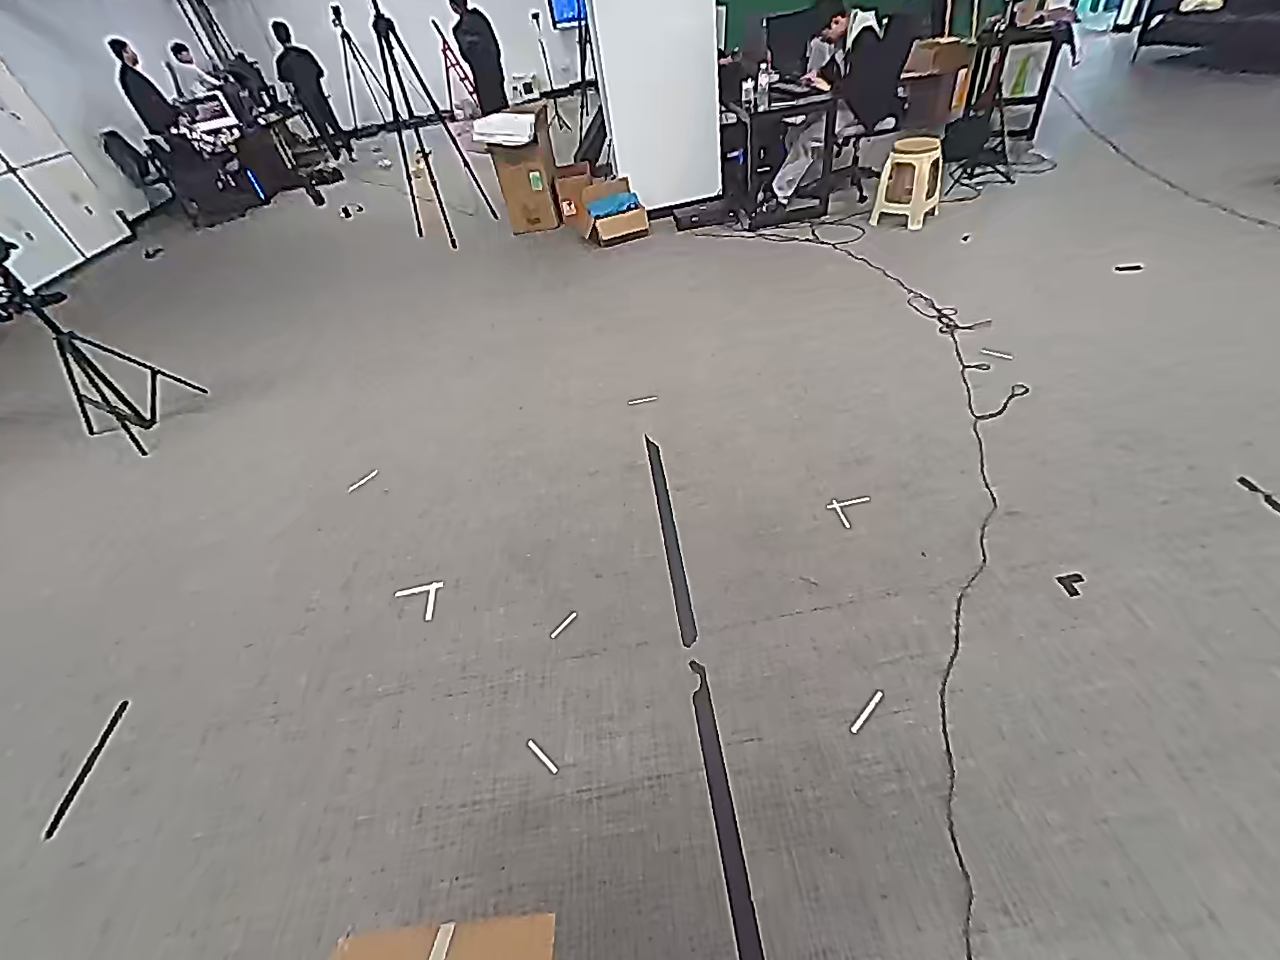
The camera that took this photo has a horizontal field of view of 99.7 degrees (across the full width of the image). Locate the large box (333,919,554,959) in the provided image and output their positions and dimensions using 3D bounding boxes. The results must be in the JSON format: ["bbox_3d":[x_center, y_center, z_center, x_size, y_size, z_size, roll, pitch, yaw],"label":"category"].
[{"bbox_3d":[-0.261,0.813,0.604,0.320,0.320,0.408,-1,-1,-3],"label":"large box"}]
